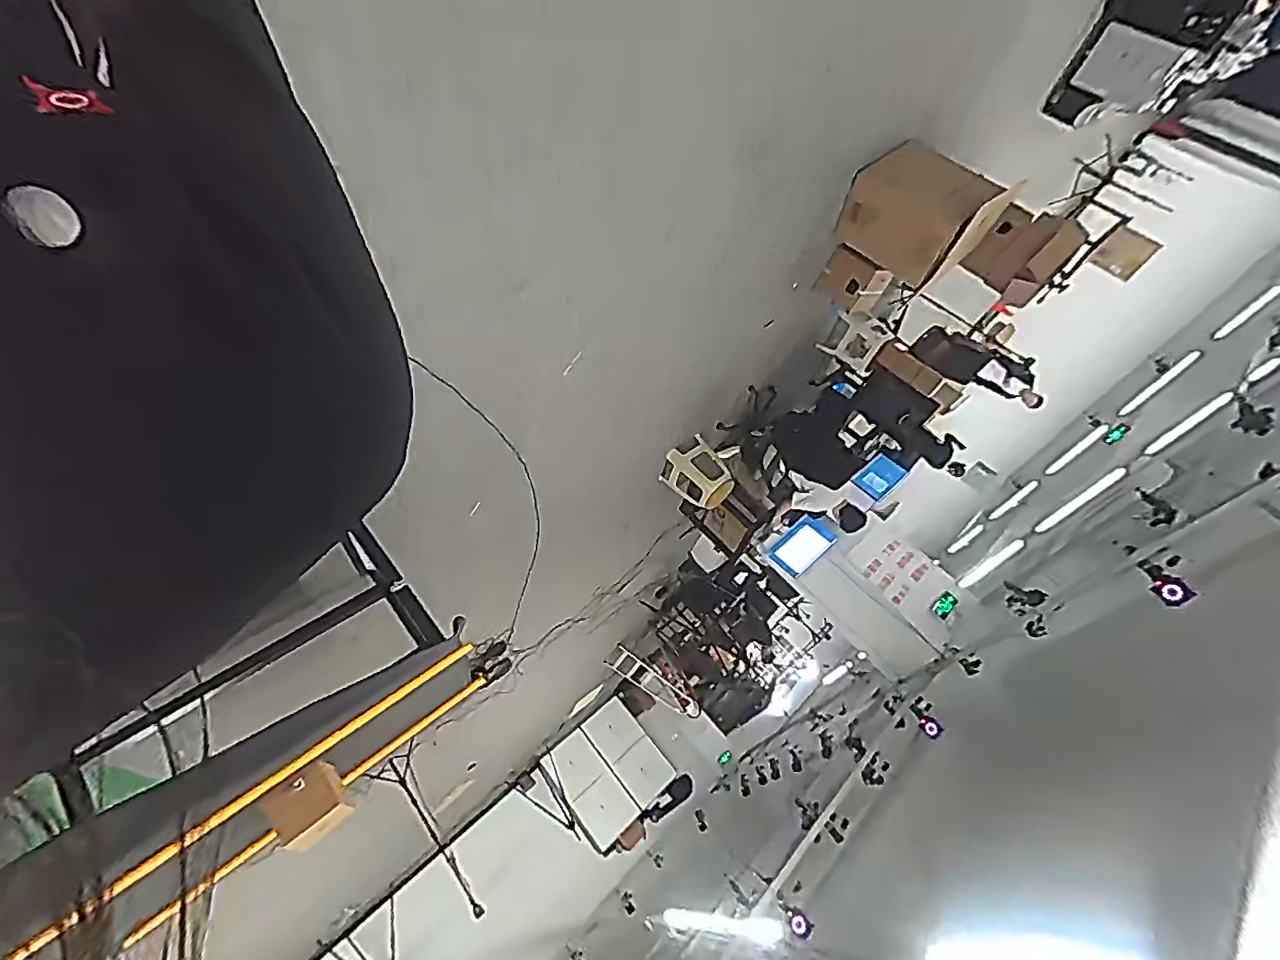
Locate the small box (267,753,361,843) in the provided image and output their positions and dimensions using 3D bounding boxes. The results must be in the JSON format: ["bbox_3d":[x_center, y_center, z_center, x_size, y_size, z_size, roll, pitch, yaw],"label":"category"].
[{"bbox_3d":[-0.989,0.965,1.646,0.168,0.176,0.179,-35,156,-29],"label":"small box"}]
